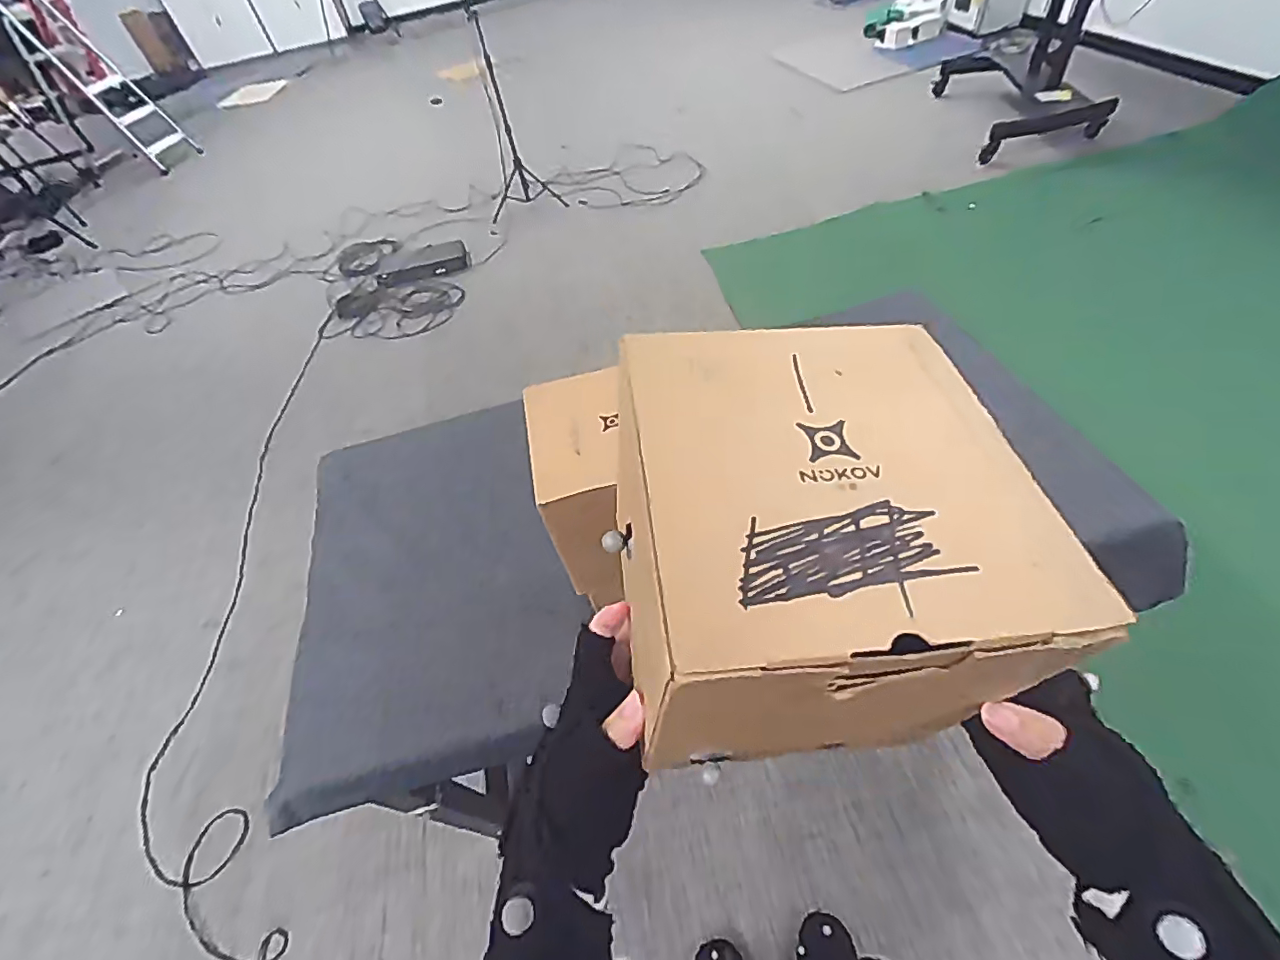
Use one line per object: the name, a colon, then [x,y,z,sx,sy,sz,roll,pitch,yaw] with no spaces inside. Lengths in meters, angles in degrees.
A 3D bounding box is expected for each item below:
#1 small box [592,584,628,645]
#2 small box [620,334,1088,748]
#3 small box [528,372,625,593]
small box: [0.023,0.100,0.719,0.179,0.176,0.168,-13,50,-1]
small box: [0.077,0.040,0.307,0.168,0.176,0.179,-3,52,-6]
small box: [-0.011,-0.001,0.595,0.179,0.176,0.168,-15,48,-2]
